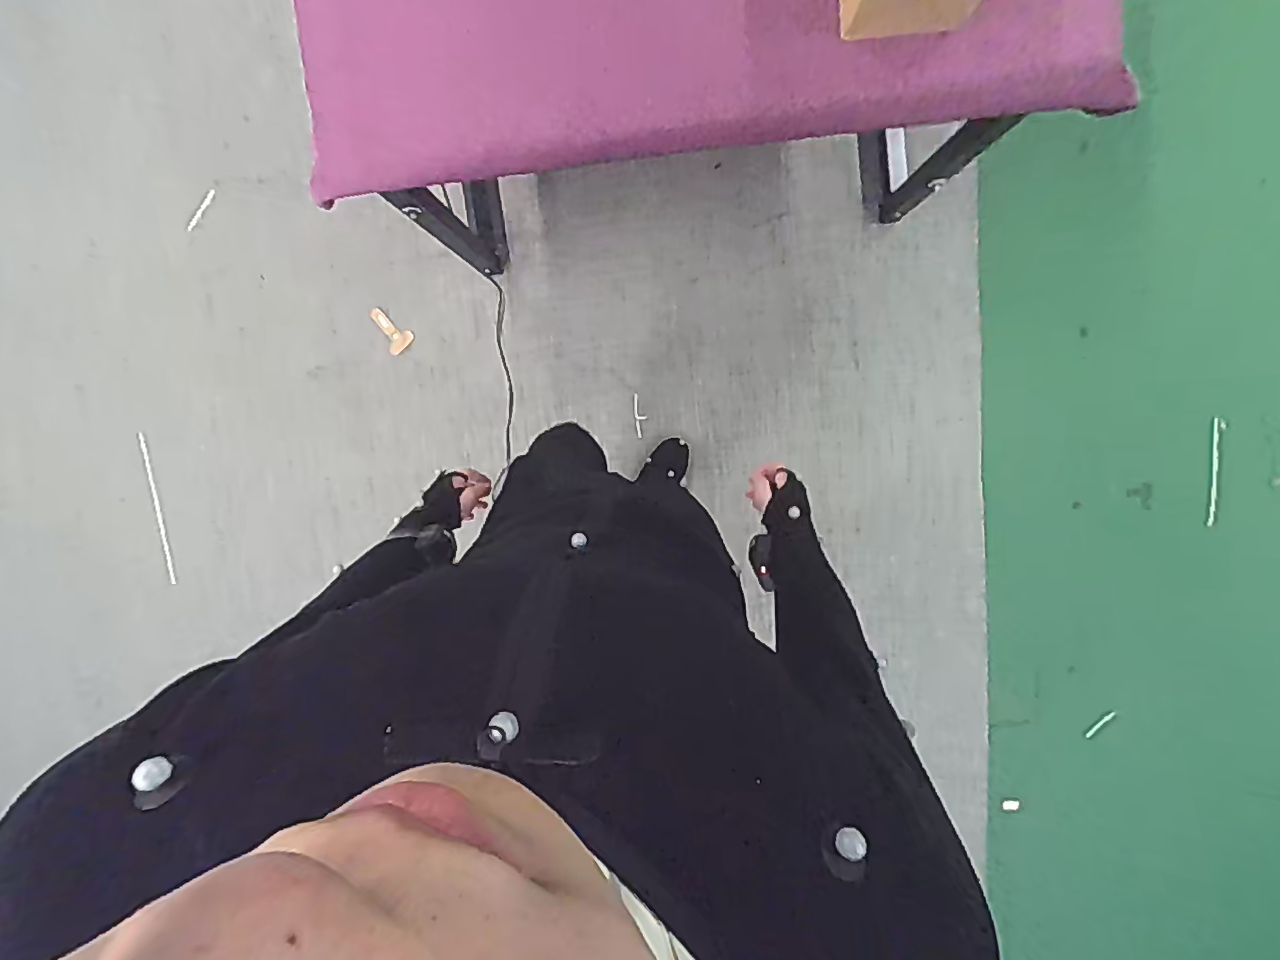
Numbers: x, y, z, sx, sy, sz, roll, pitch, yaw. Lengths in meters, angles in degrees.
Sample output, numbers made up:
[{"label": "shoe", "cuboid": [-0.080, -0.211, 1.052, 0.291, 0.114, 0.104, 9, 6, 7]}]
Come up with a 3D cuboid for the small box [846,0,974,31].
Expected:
[{"label": "small box", "cuboid": [0.371, -0.720, 0.689, 0.179, 0.176, 0.168, -3, 96, 4]}]
